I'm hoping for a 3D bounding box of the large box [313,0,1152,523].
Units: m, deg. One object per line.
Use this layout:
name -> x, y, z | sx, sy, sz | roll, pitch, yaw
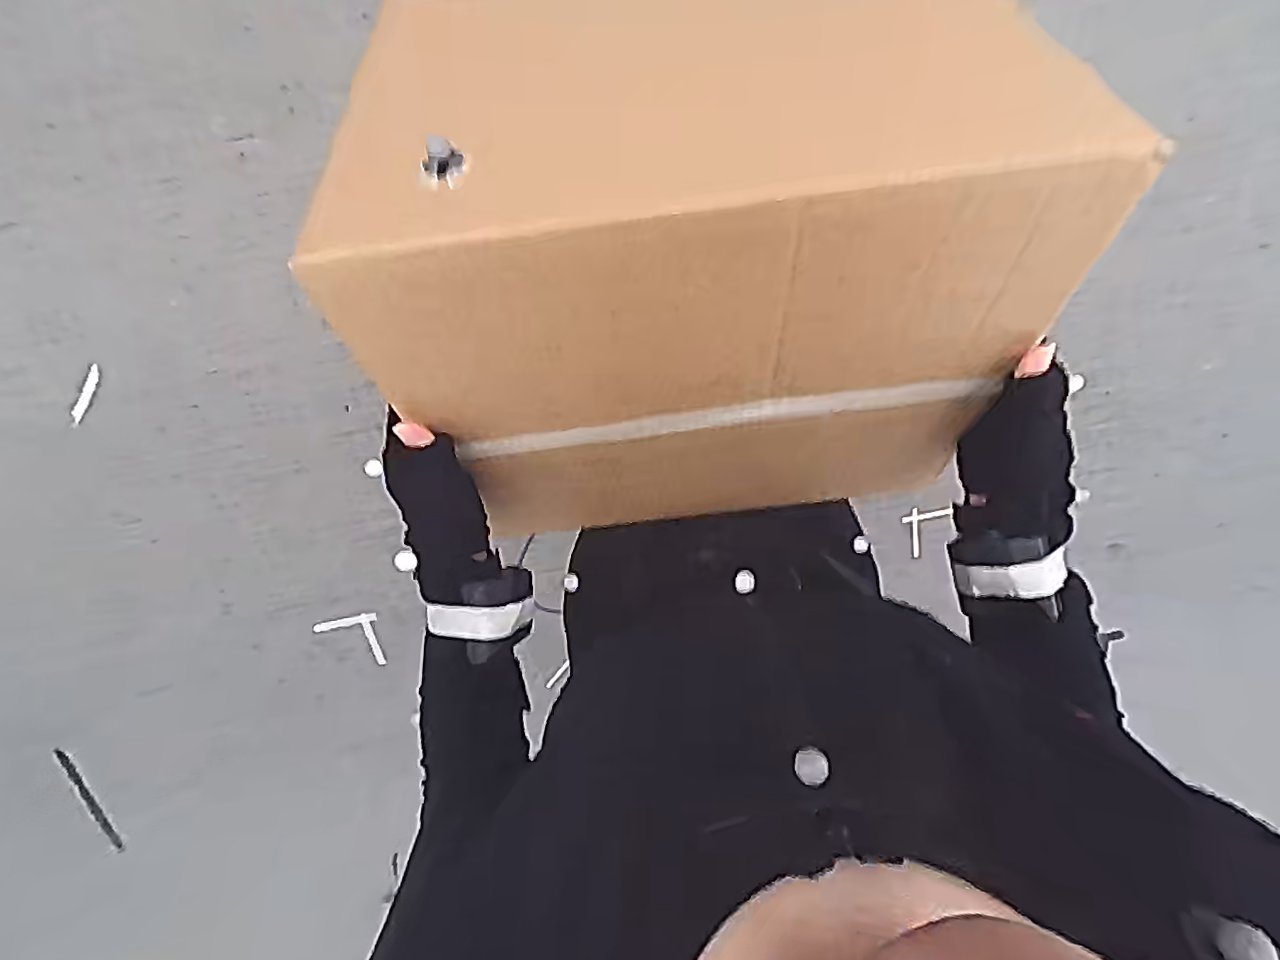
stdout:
large box -> 0.035, -0.185, 0.454 | 0.408, 0.320, 0.320 | -7, 151, 1
